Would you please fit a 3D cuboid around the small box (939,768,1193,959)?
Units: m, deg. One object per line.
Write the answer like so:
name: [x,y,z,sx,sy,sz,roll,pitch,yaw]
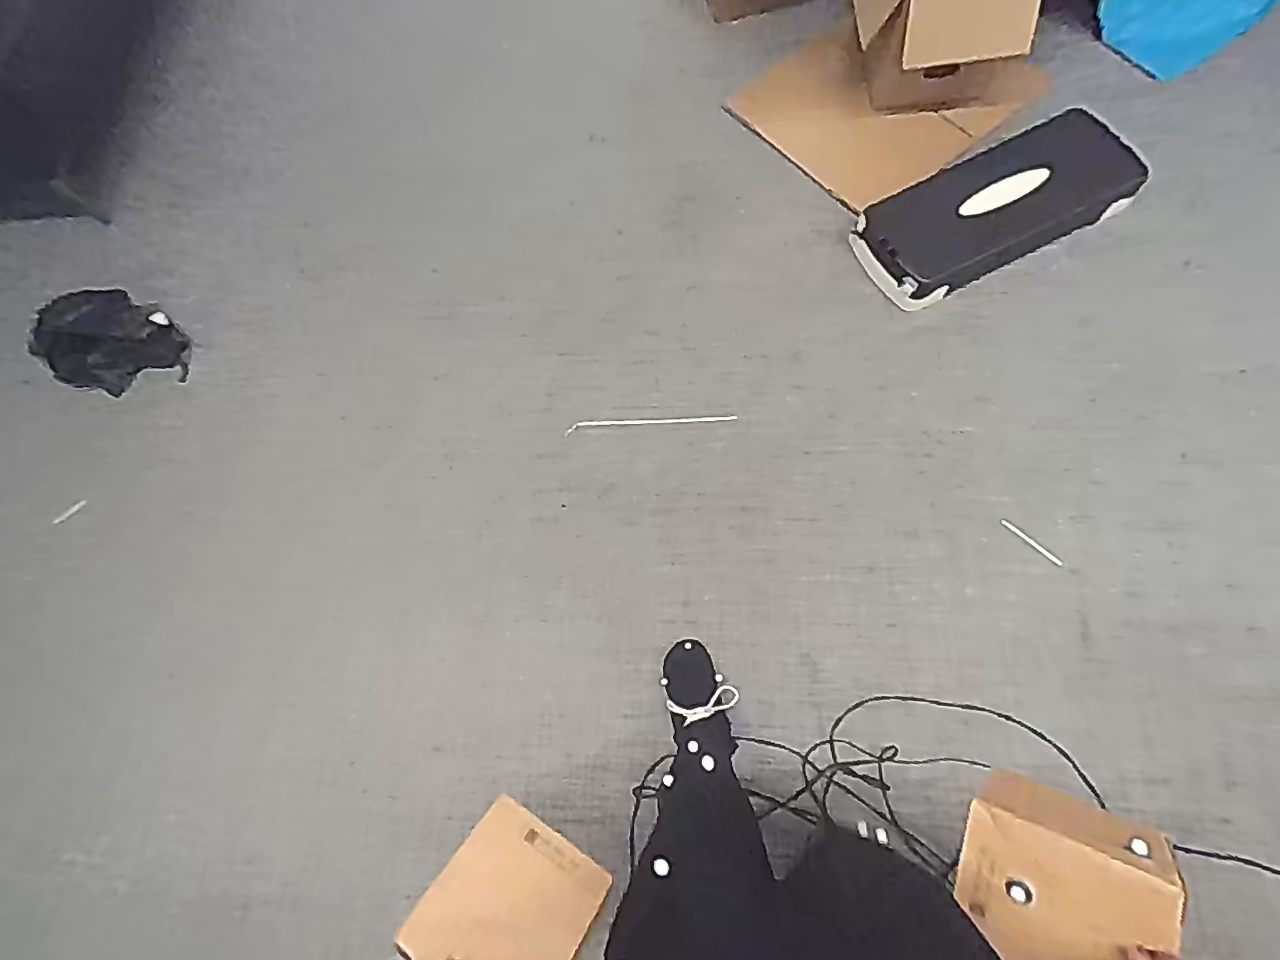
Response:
small box: [0.445,0.437,0.579,0.176,0.179,0.168,13,85,42]
